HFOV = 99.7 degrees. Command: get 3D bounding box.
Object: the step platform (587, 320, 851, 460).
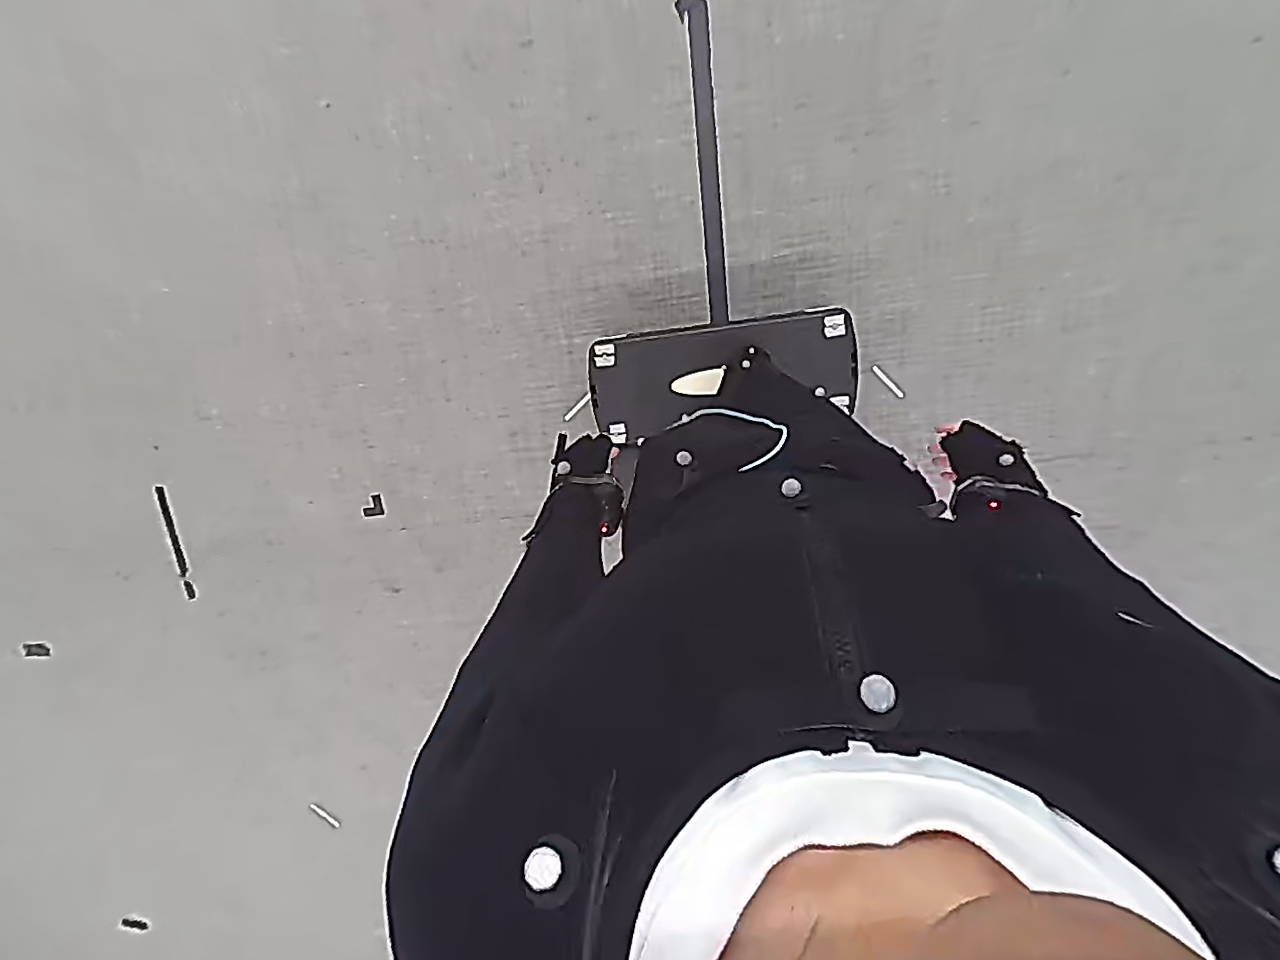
[{"bbox_3d":[0.202,-0.238,1.451,0.684,0.204,0.286,-7,104,6],"label":"step platform"}]
